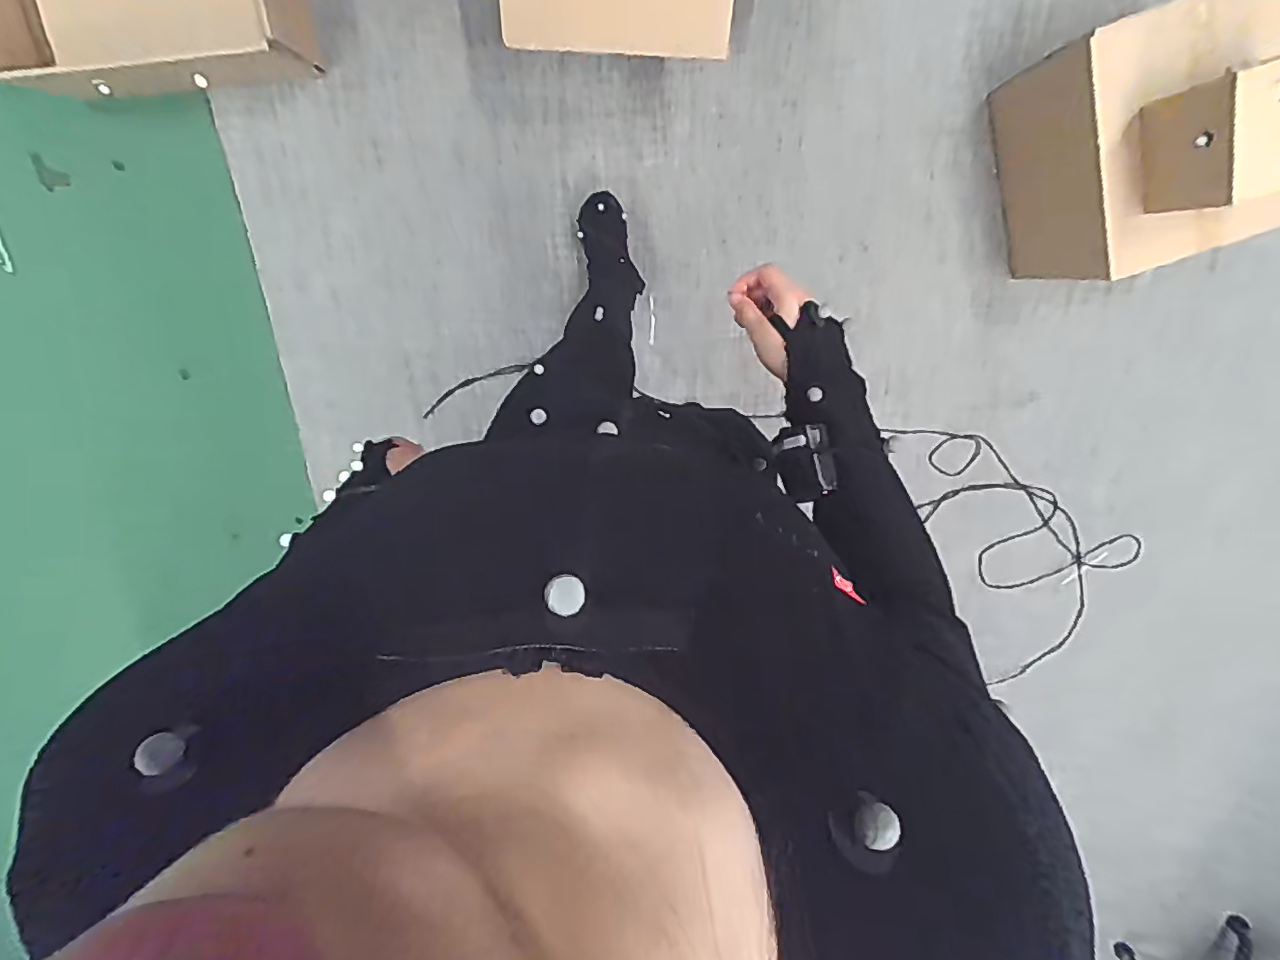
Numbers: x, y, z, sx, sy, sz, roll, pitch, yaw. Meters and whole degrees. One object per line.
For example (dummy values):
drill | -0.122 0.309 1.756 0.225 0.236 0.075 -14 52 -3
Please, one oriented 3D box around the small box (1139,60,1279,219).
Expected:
small box | 0.923 -0.527 0.835 0.168 0.176 0.179 -17 108 11
